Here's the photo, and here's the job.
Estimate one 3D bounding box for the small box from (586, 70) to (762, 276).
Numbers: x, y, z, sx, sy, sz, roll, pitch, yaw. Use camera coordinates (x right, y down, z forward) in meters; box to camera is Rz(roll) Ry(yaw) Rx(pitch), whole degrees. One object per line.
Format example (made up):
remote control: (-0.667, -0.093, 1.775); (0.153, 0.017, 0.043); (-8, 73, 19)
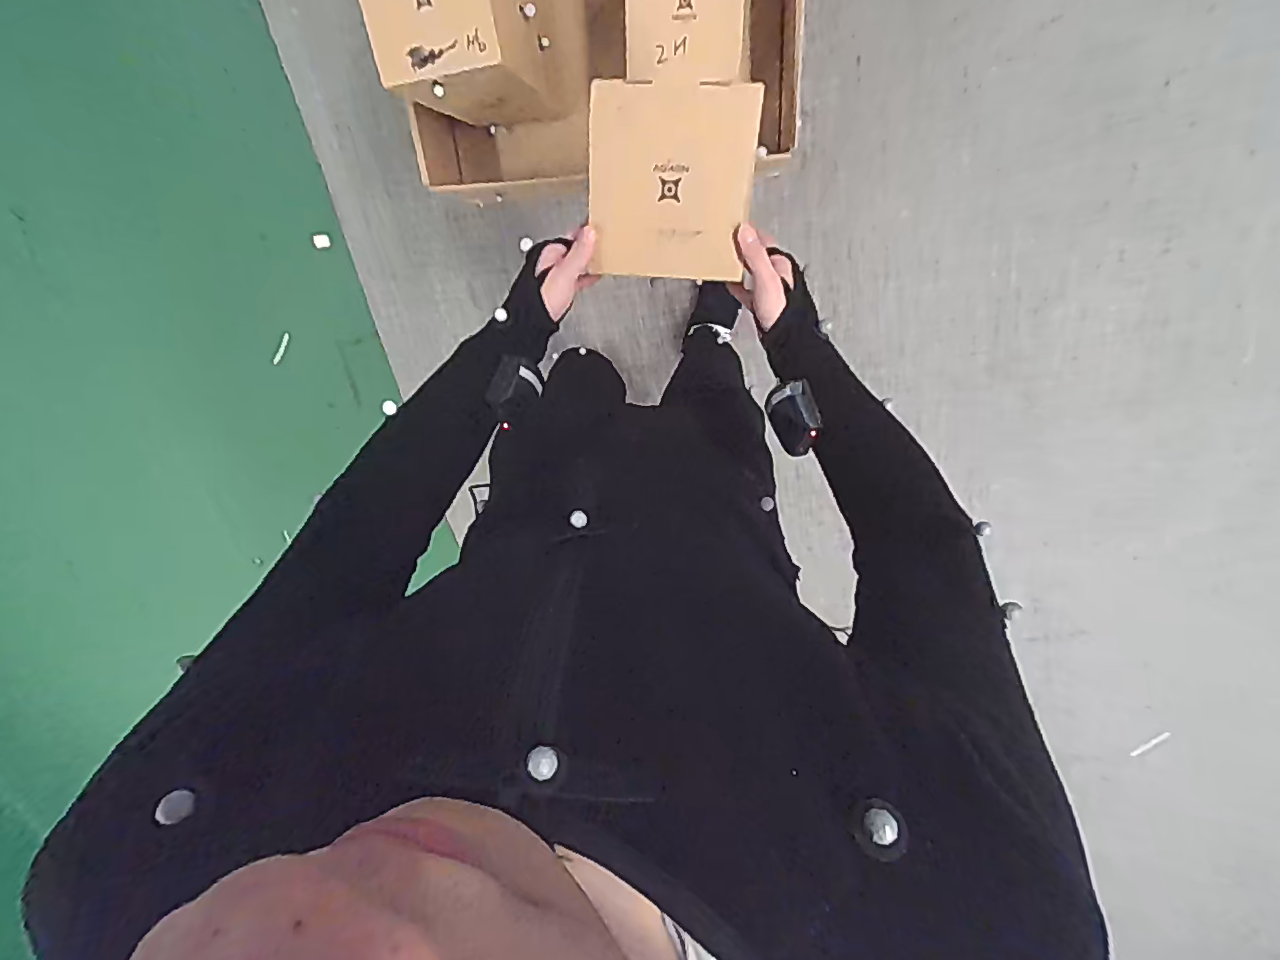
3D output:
small box: (0.037, -0.334, 0.617); (0.168, 0.176, 0.179); (6, 114, 5)

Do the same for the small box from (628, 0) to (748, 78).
small box: (0.076, -0.690, 0.812); (0.168, 0.176, 0.179); (4, 116, 9)

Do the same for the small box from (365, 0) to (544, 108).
small box: (-0.243, -0.626, 0.717); (0.168, 0.176, 0.179); (-2, 114, 13)
